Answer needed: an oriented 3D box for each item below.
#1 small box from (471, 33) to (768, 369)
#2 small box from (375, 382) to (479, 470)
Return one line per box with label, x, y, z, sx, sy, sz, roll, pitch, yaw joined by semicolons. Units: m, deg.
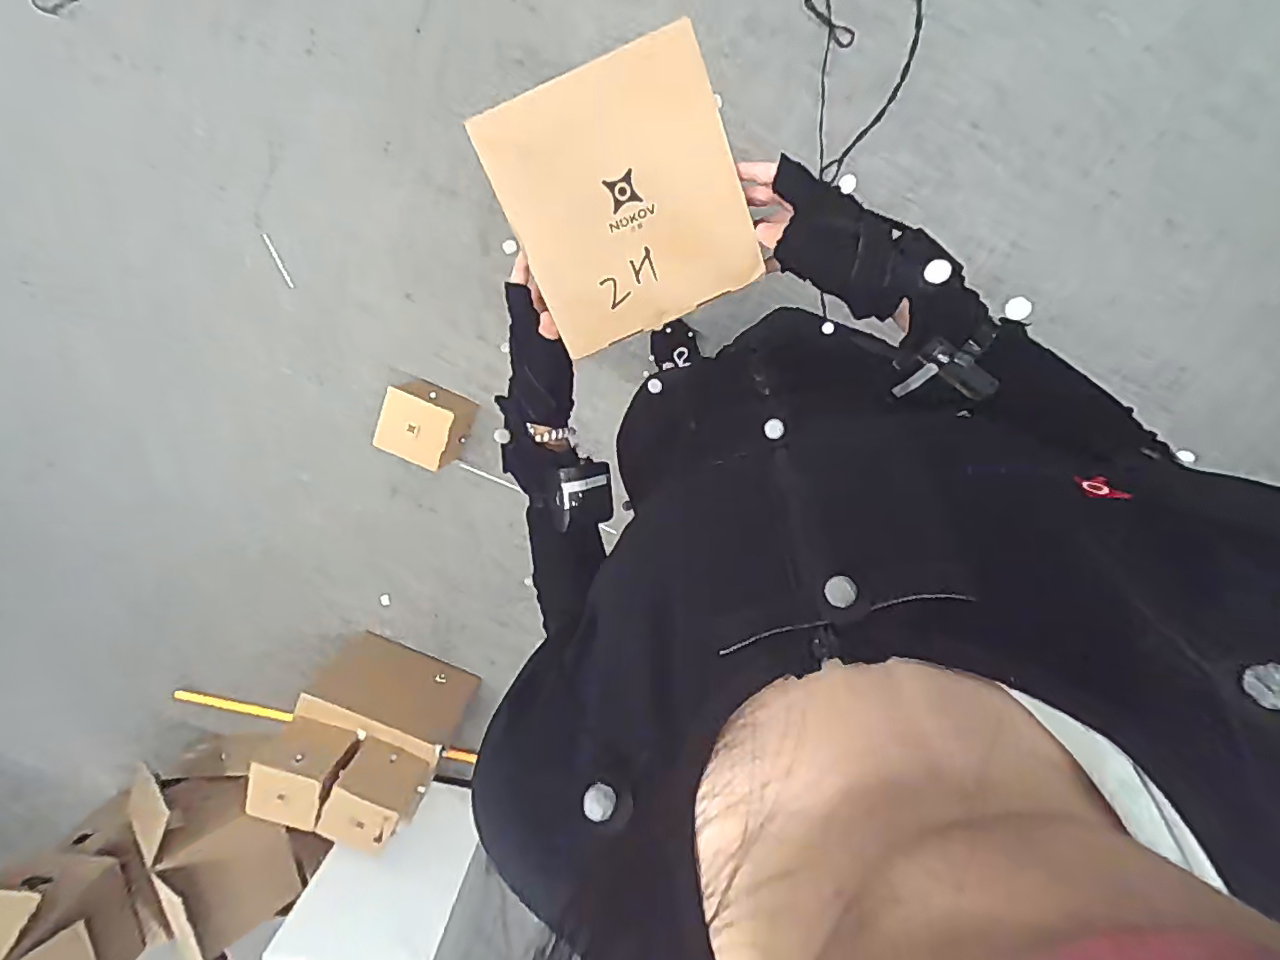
small box;-0.016;-0.214;0.459;0.168;0.176;0.179;-23;111;4
small box;-0.552;-0.149;1.416;0.179;0.176;0.168;23;107;-4
